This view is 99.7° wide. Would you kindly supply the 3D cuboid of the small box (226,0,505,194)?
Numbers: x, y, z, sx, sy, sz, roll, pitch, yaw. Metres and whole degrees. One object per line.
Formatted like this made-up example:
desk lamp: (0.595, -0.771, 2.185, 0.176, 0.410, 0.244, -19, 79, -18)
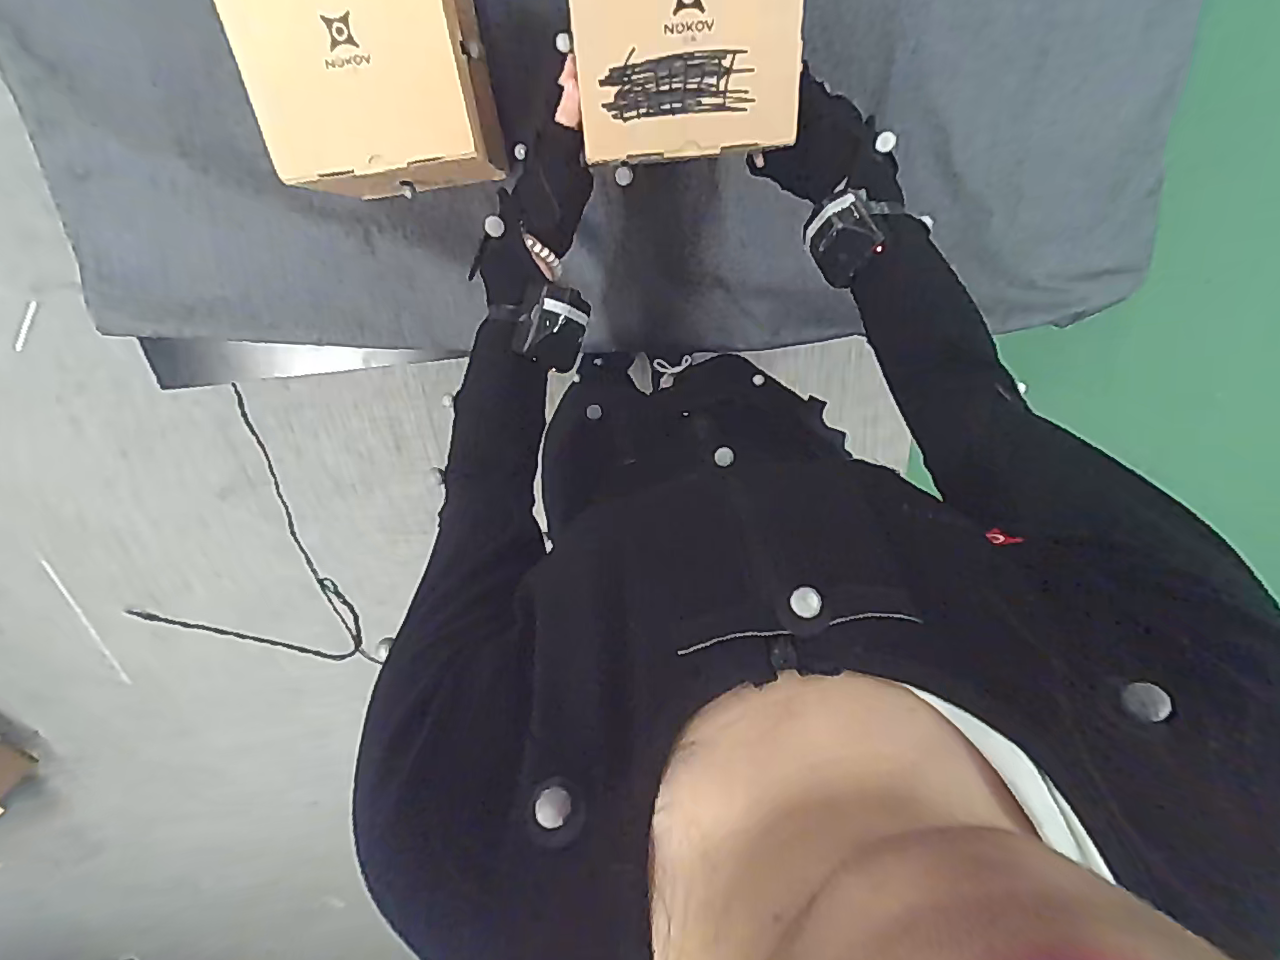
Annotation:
small box: (-0.231, -0.373, 0.492, 0.168, 0.176, 0.179, -8, 115, 0)
